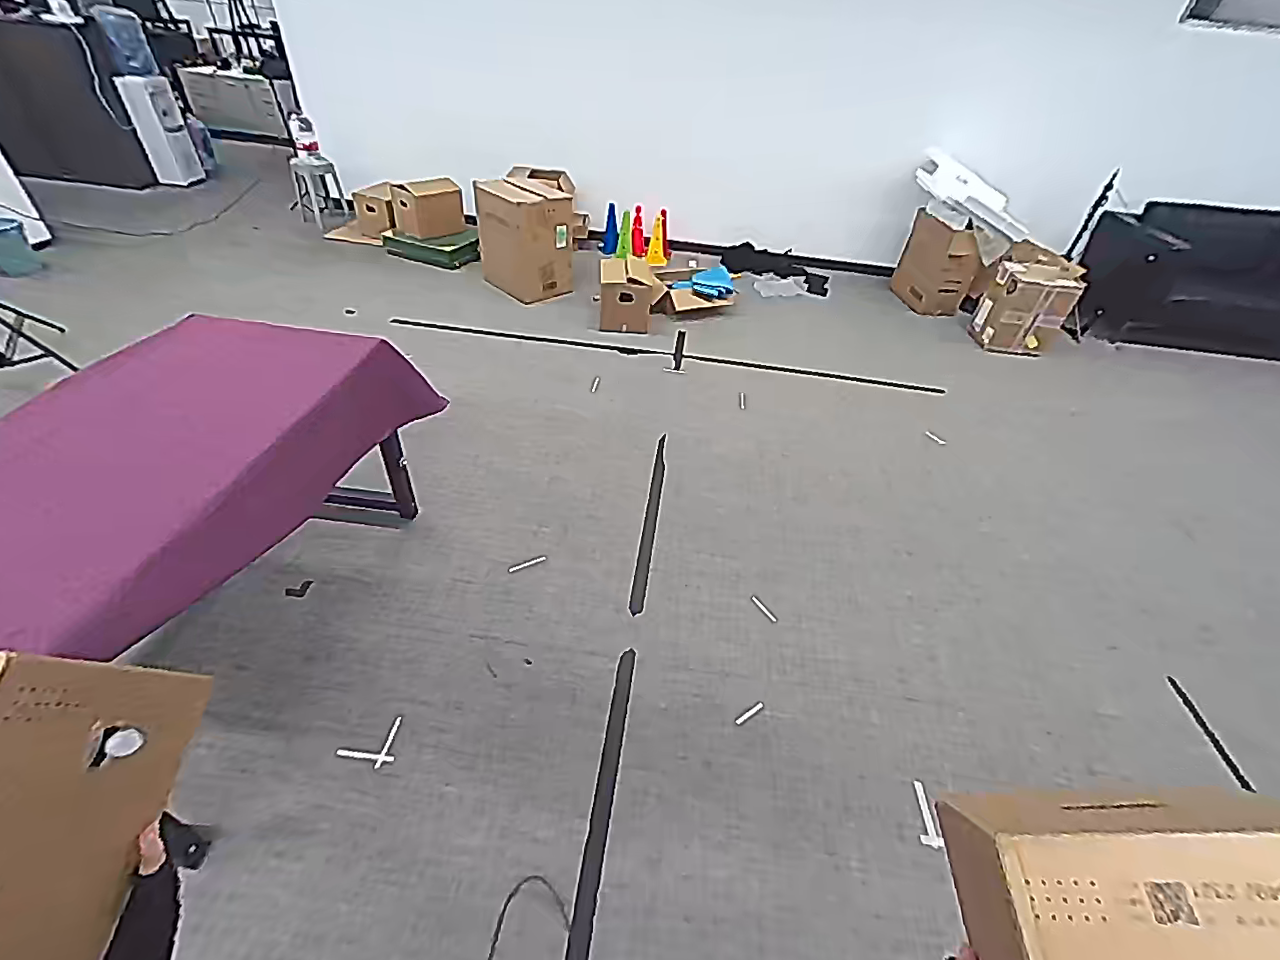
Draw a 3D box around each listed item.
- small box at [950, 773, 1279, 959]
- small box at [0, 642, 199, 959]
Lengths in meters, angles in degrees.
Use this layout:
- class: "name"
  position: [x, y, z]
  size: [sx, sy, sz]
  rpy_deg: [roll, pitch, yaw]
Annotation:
- class: "small box"
  position: [0.276, 0.251, 0.269]
  size: [0.168, 0.179, 0.176]
  rpy_deg: [-10, 65, 16]
- class: "small box"
  position: [-0.377, 0.163, 0.264]
  size: [0.168, 0.179, 0.176]
  rpy_deg: [10, 65, -7]
